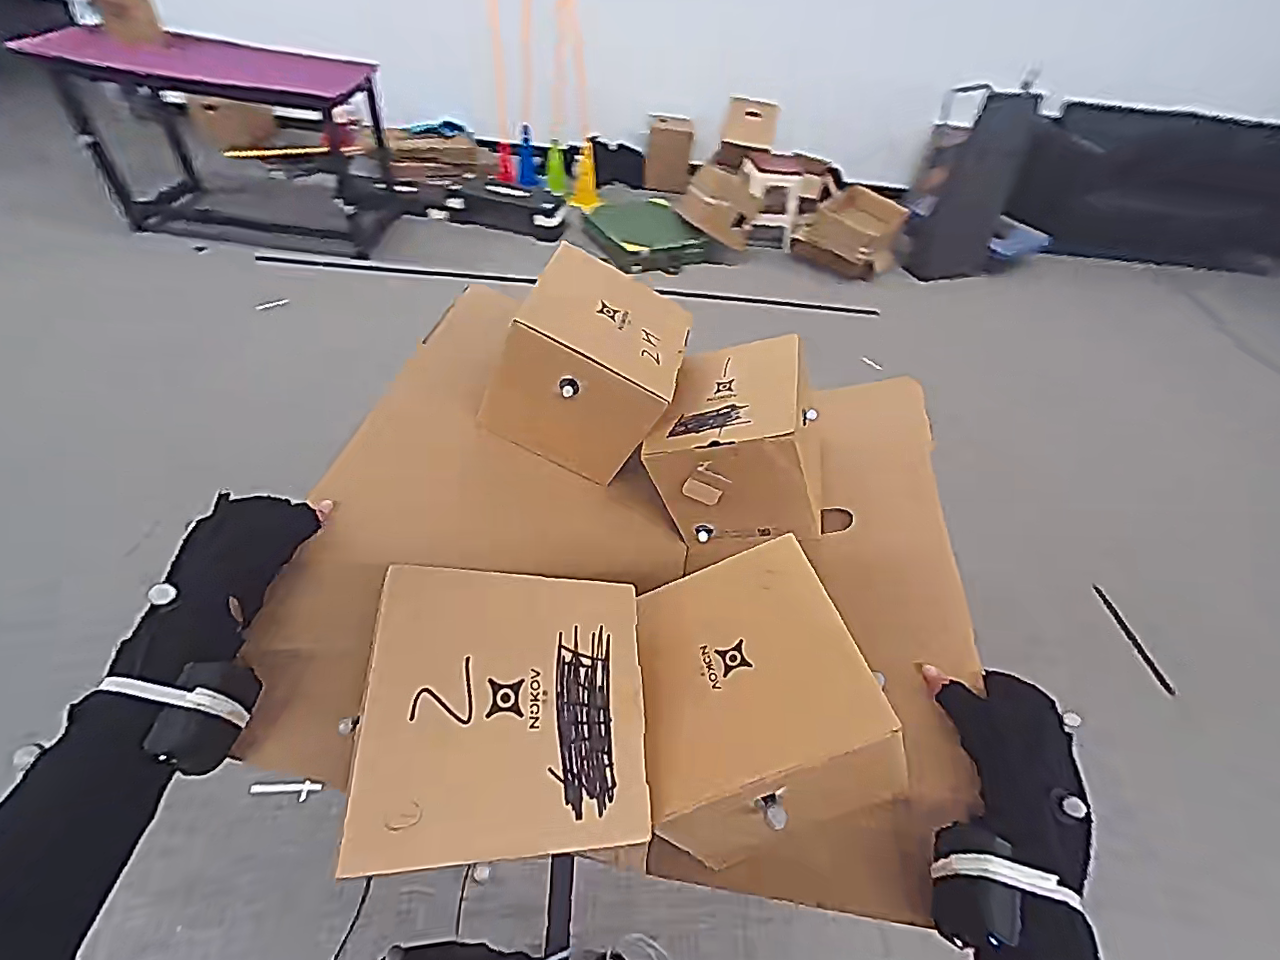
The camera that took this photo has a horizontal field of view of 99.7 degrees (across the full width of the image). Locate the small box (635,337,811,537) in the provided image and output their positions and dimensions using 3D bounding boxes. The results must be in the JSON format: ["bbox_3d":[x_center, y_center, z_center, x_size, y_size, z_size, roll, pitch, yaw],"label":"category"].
[{"bbox_3d":[0.114,-0.042,0.664,0.168,0.176,0.179,-7,44,24],"label":"small box"}]
